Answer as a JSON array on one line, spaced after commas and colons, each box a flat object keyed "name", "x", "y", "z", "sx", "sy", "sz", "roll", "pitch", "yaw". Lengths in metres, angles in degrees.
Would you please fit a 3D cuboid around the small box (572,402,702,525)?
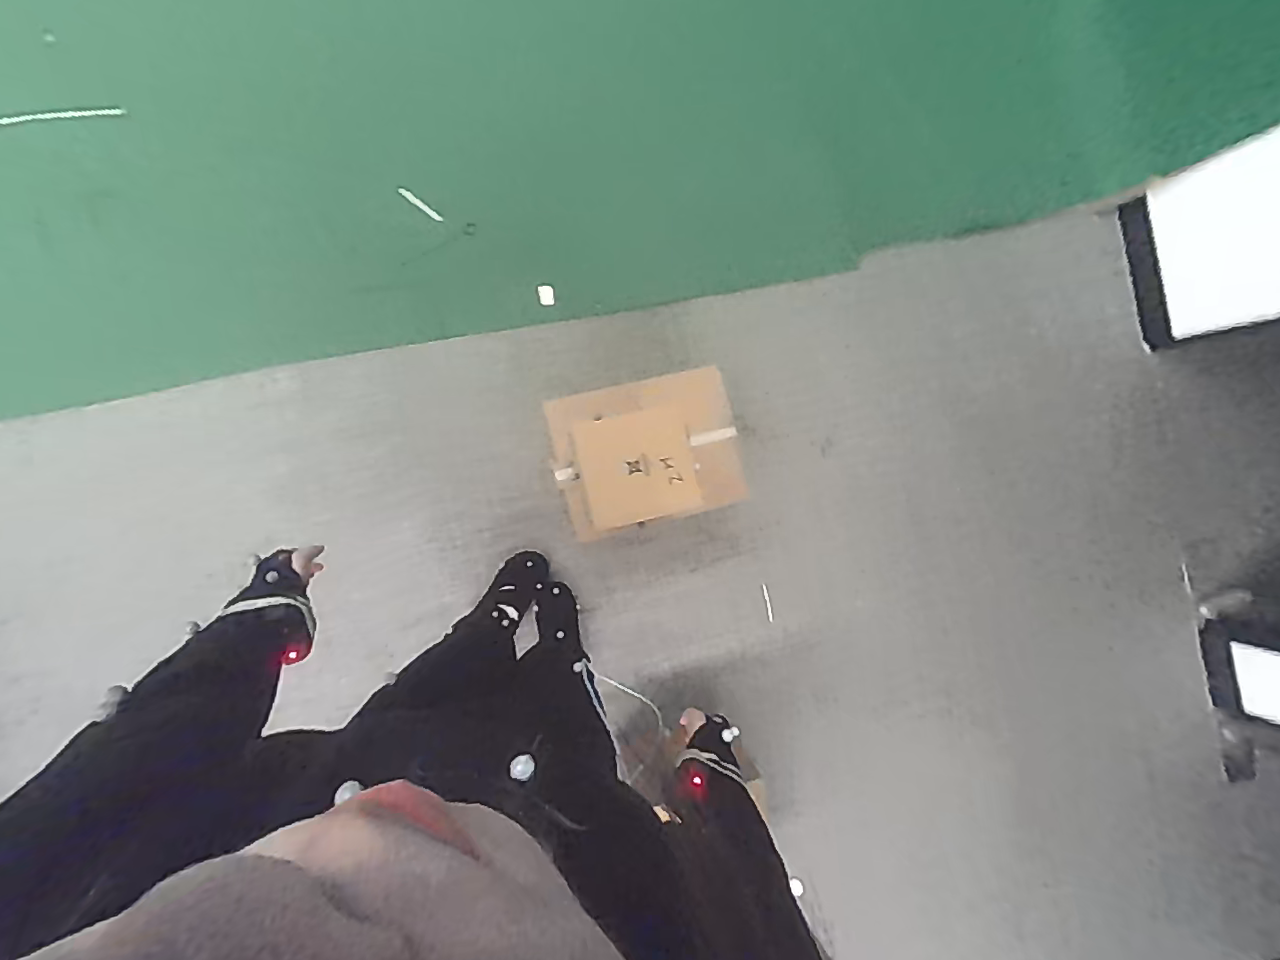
[{"name": "small box", "x": -0.015, "y": -0.027, "z": 0.903, "sx": 0.179, "sy": 0.176, "sz": 0.168, "roll": -12, "pitch": 93, "yaw": -10}]

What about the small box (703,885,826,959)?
[{"name": "small box", "x": 0.216, "y": 0.876, "z": 0.959, "sx": 0.168, "sy": 0.176, "sz": 0.179, "roll": -3, "pitch": 91, "yaw": -12}]

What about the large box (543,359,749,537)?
[{"name": "large box", "x": -0.005, "y": -0.073, "z": 1.319, "sx": 0.408, "sy": 0.320, "sz": 0.320, "roll": -14, "pitch": 93, "yaw": -10}]
